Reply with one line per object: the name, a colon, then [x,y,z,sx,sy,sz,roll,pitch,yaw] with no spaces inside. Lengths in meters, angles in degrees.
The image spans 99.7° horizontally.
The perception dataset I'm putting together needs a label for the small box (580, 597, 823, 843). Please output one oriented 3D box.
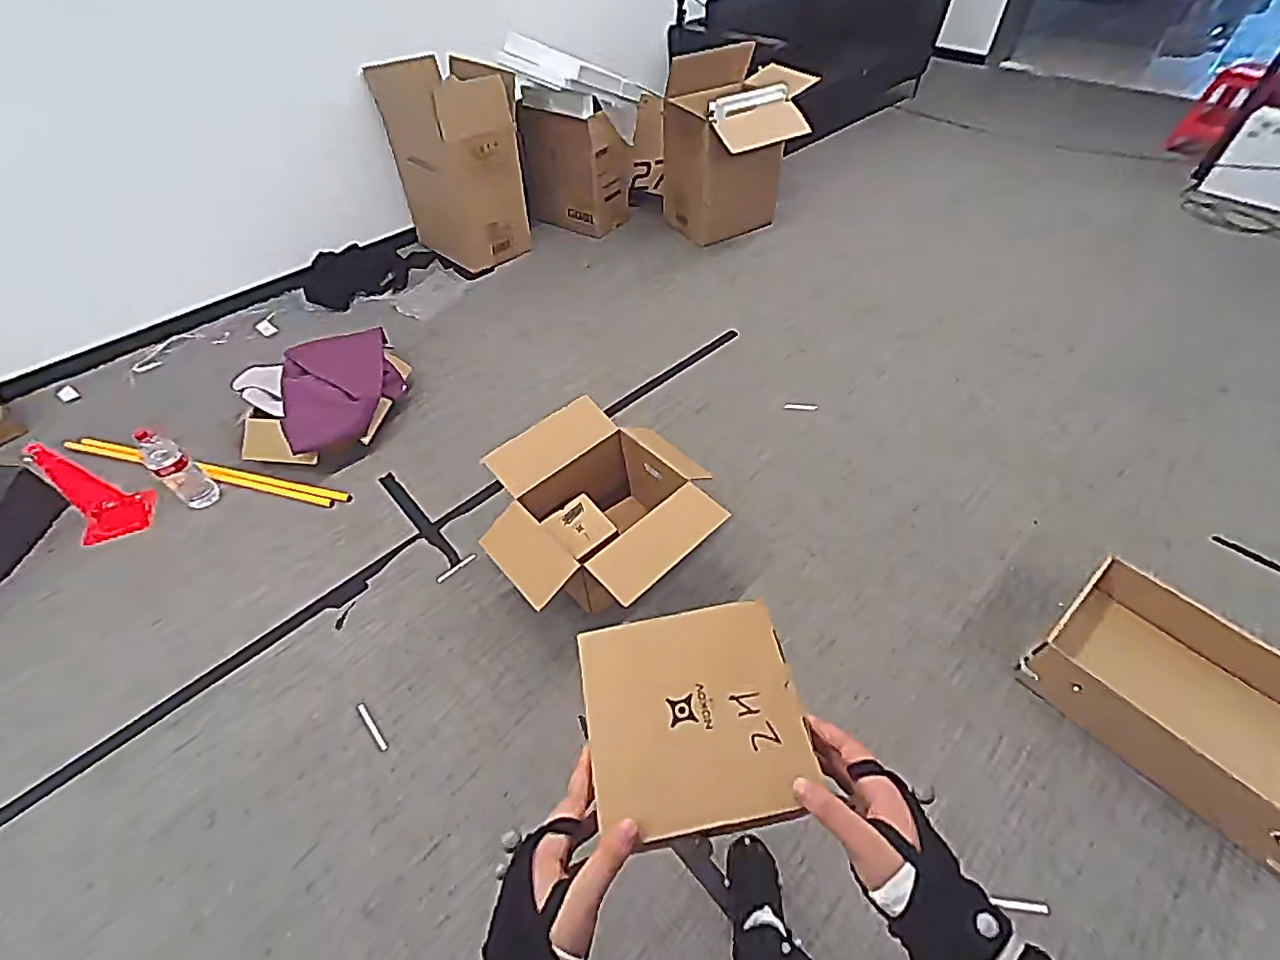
small box: [0.049,0.234,0.517,0.179,0.176,0.168,-10,55,-3]
